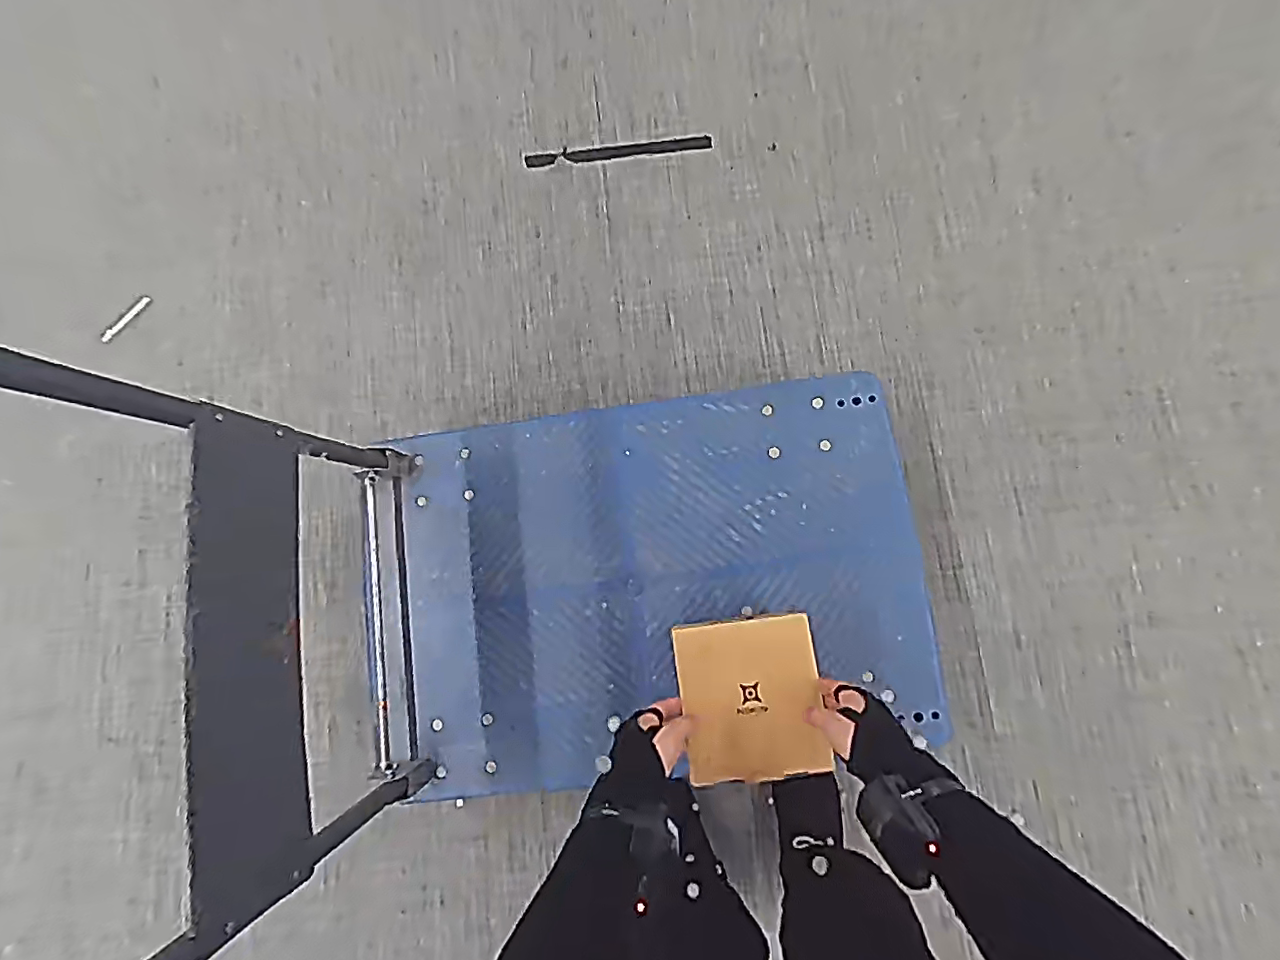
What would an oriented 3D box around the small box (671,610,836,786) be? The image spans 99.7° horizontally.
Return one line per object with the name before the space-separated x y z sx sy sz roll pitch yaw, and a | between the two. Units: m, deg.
small box | 0.132 0.269 0.701 0.168 0.176 0.179 -8 77 2
